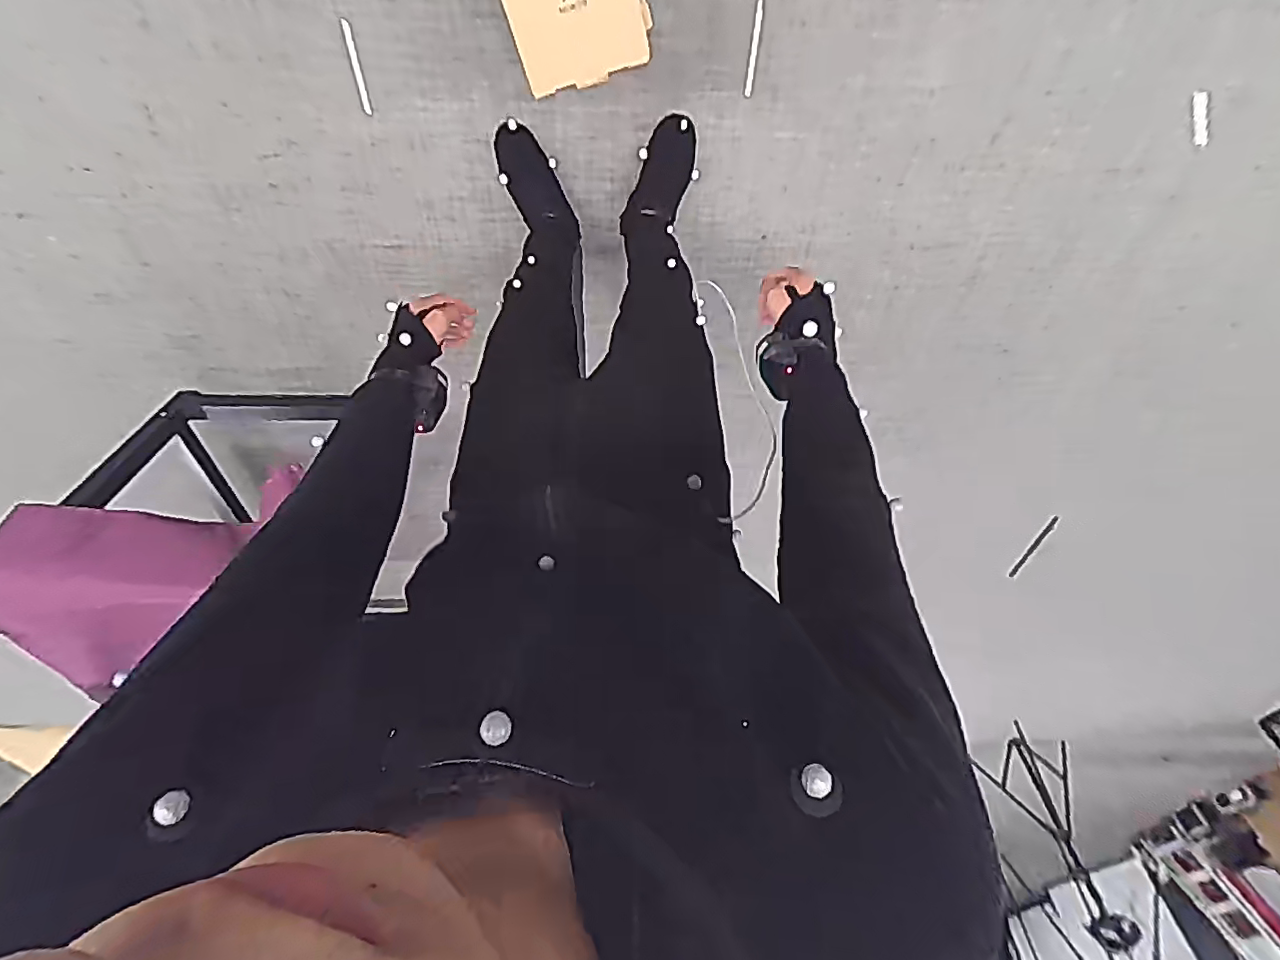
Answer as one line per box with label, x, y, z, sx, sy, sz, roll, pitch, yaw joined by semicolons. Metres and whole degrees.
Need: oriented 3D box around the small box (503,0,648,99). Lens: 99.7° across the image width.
small box;-0.087;-0.648;0.720;0.168;0.176;0.179;-12;134;8
